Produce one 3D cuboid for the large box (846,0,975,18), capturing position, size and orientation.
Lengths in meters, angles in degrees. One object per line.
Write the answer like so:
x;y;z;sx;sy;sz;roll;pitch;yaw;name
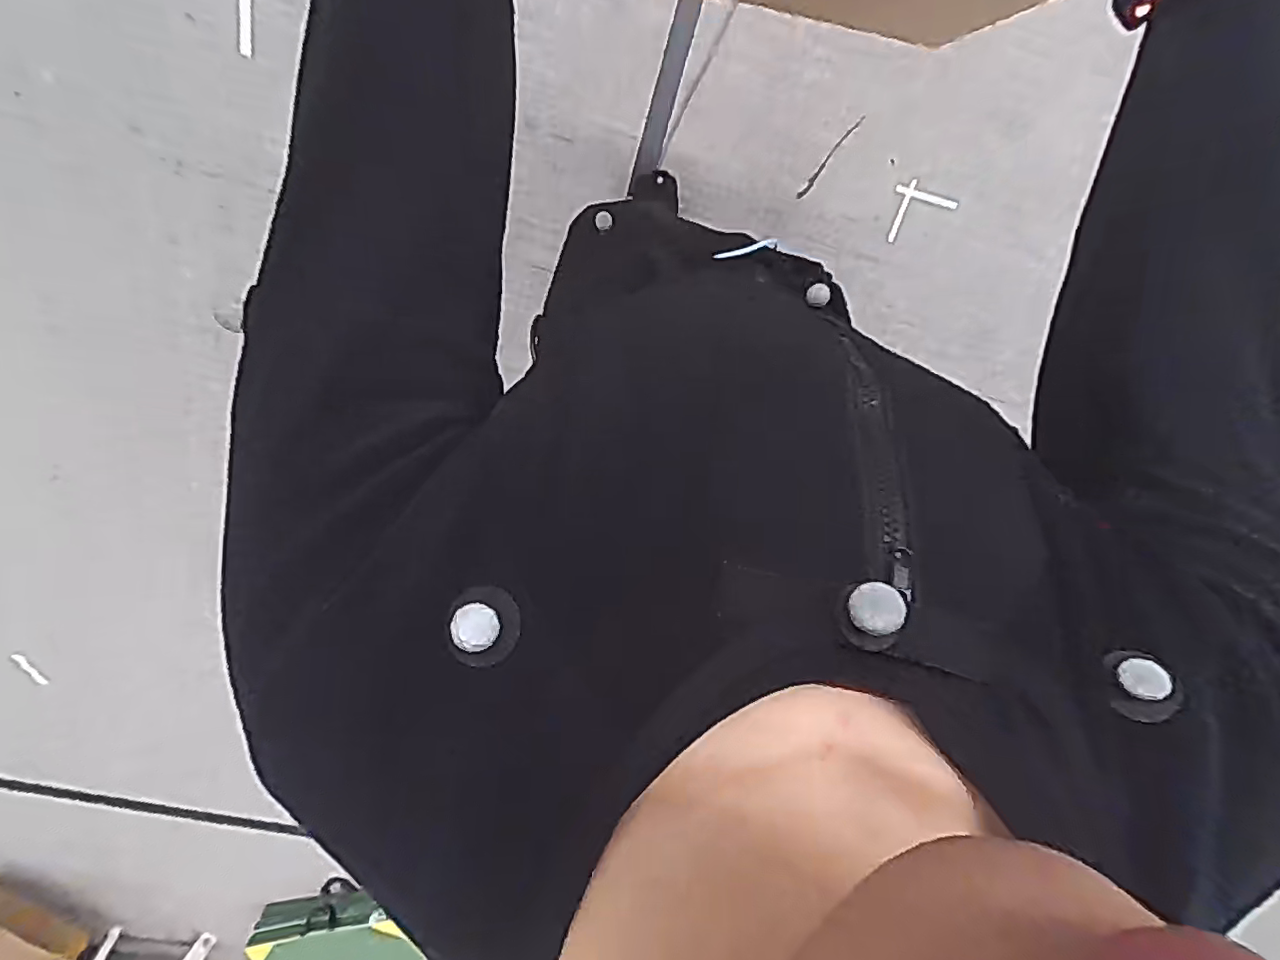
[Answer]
0.159;-0.585;0.377;0.408;0.320;0.320;11;119;-3;large box
